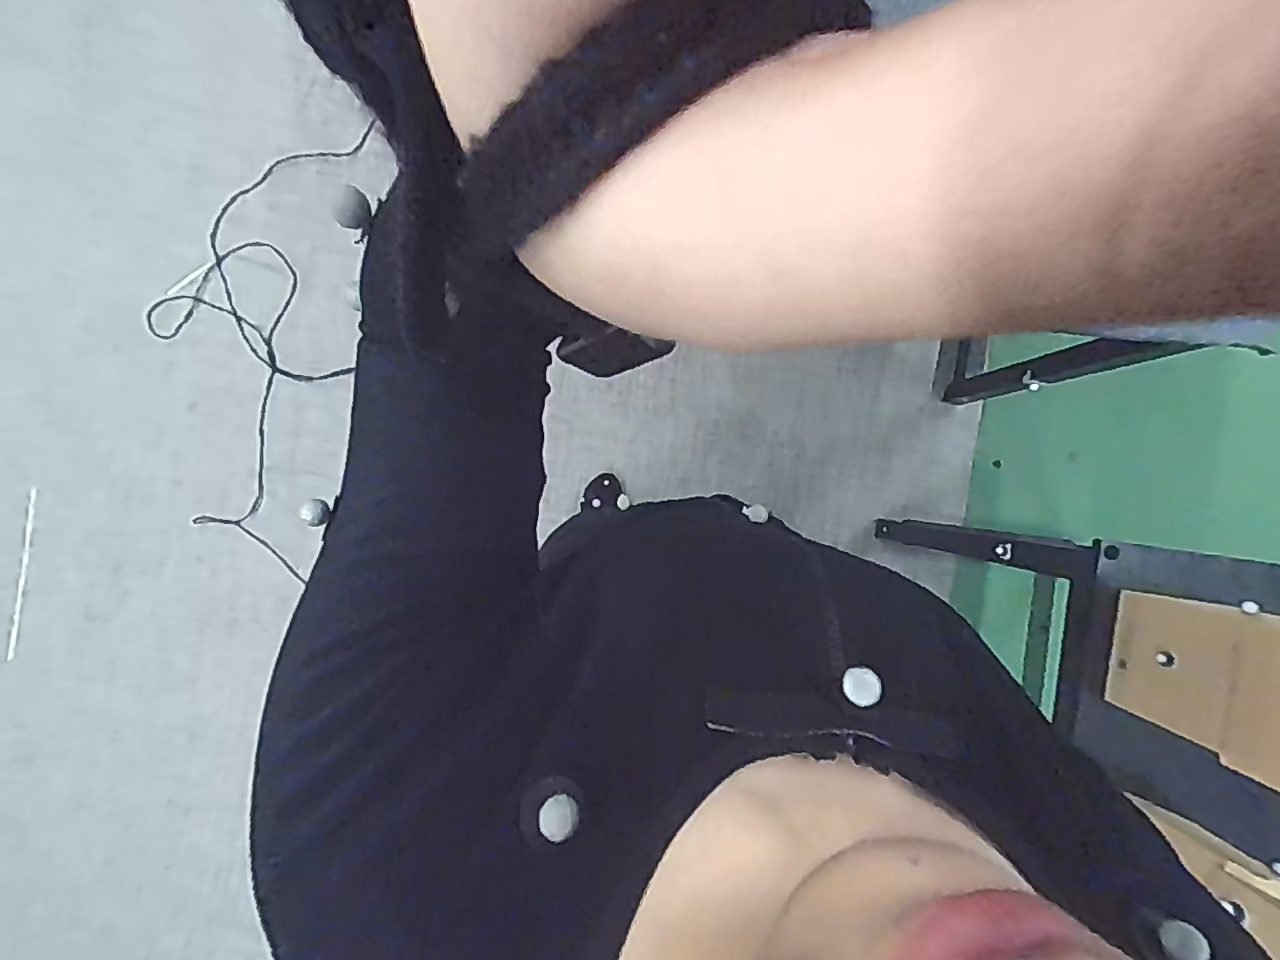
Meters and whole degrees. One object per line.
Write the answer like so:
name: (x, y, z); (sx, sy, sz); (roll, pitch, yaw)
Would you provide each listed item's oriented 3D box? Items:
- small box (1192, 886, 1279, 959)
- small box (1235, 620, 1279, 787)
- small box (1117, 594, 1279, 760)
small box: (0.706, 0.555, 0.531); (0.179, 0.176, 0.168); (27, 90, -1)
small box: (0.761, 0.255, 0.533); (0.168, 0.176, 0.179); (9, 90, 0)
small box: (0.775, 0.251, 0.696); (0.179, 0.176, 0.168); (9, 91, -1)
